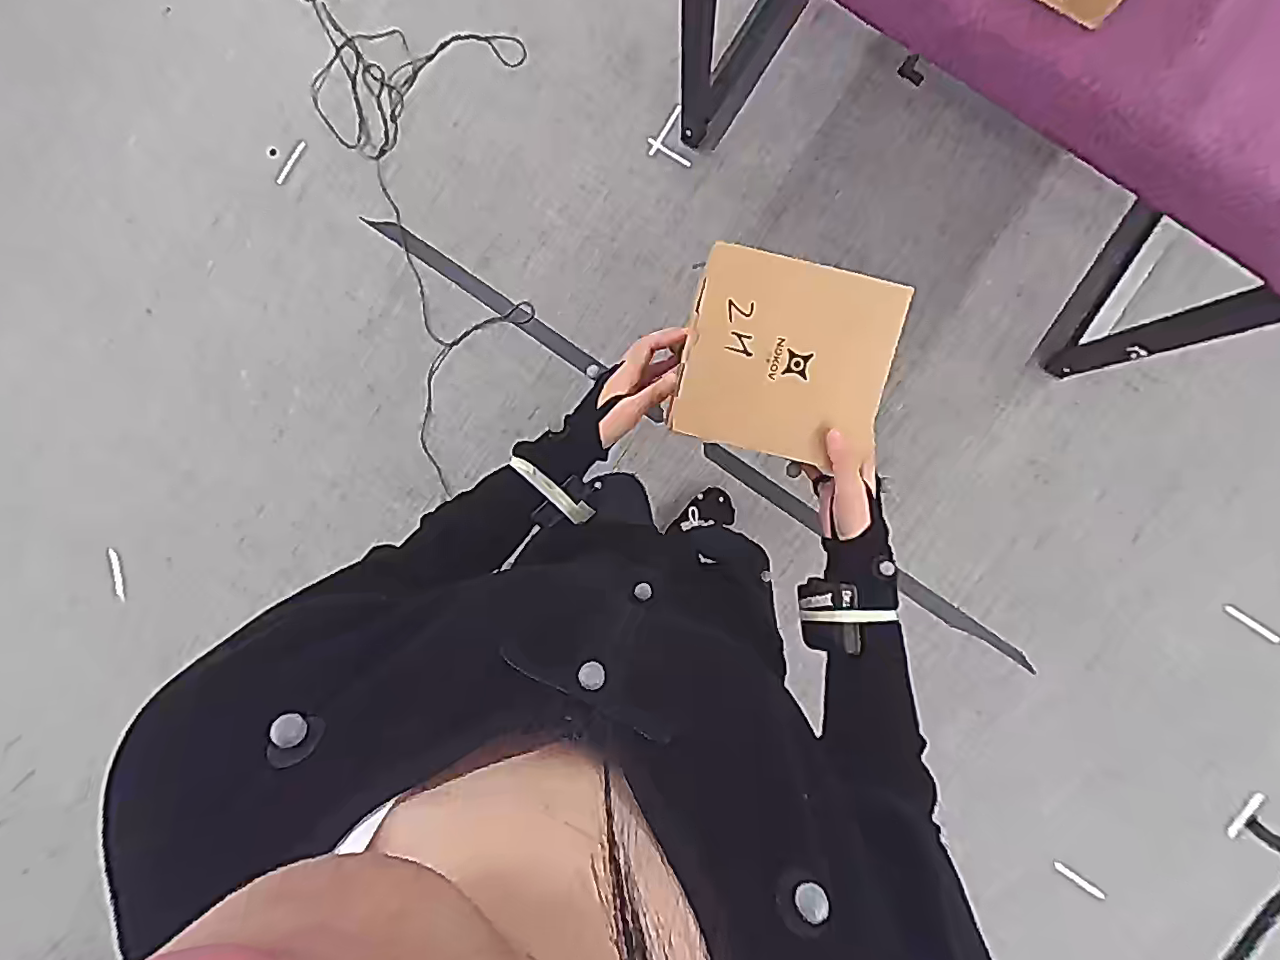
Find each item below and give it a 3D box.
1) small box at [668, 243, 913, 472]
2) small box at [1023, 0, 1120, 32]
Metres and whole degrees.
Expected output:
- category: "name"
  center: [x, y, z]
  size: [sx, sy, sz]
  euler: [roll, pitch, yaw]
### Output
- category: "small box"
  center: [0.132, -0.116, 0.548]
  size: [0.179, 0.176, 0.168]
  euler: [13, 99, 0]
- category: "small box"
  center: [0.567, -0.703, 0.638]
  size: [0.168, 0.176, 0.179]
  euler: [33, 92, 3]
